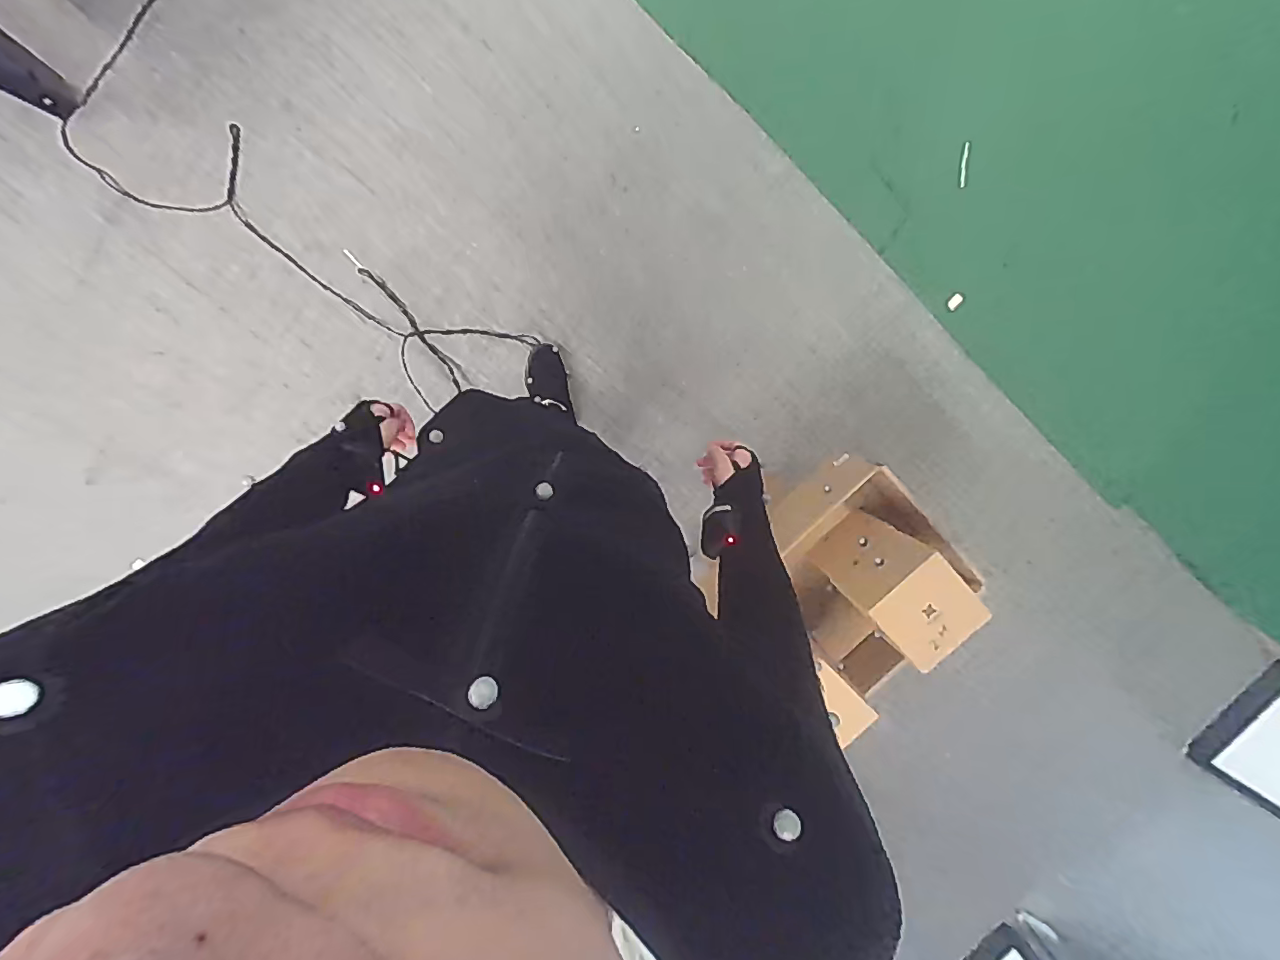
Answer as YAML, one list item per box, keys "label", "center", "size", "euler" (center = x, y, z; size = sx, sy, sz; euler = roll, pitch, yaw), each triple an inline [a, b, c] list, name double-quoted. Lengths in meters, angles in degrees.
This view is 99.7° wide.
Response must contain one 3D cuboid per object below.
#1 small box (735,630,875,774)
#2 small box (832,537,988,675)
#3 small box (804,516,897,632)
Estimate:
- label: "small box"
  center: [0.315, 0.425, 1.072]
  size: [0.168, 0.176, 0.179]
  euler: [-44, 101, 4]
- label: "small box"
  center: [0.510, 0.231, 1.050]
  size: [0.168, 0.176, 0.179]
  euler: [-43, 100, 5]
- label: "small box"
  center: [0.505, 0.204, 1.212]
  size: [0.168, 0.176, 0.179]
  euler: [-42, 101, 2]
